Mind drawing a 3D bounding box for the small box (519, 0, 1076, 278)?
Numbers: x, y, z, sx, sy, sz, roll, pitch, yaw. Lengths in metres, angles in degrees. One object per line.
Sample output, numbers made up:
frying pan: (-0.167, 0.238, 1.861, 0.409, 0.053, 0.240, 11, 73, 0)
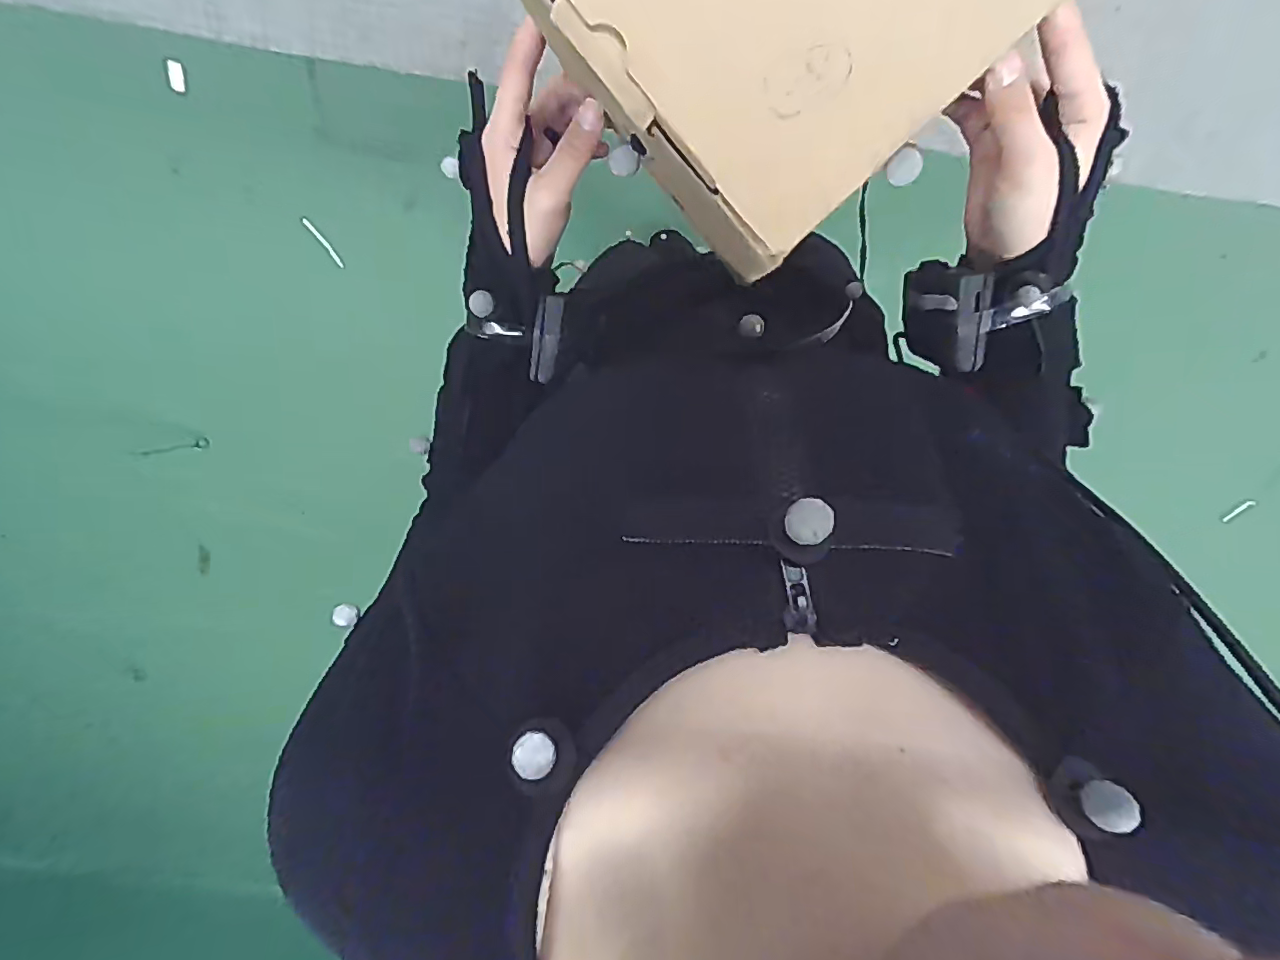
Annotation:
small box: (0.062, -0.203, 0.221, 0.179, 0.176, 0.168, -40, 98, 18)
